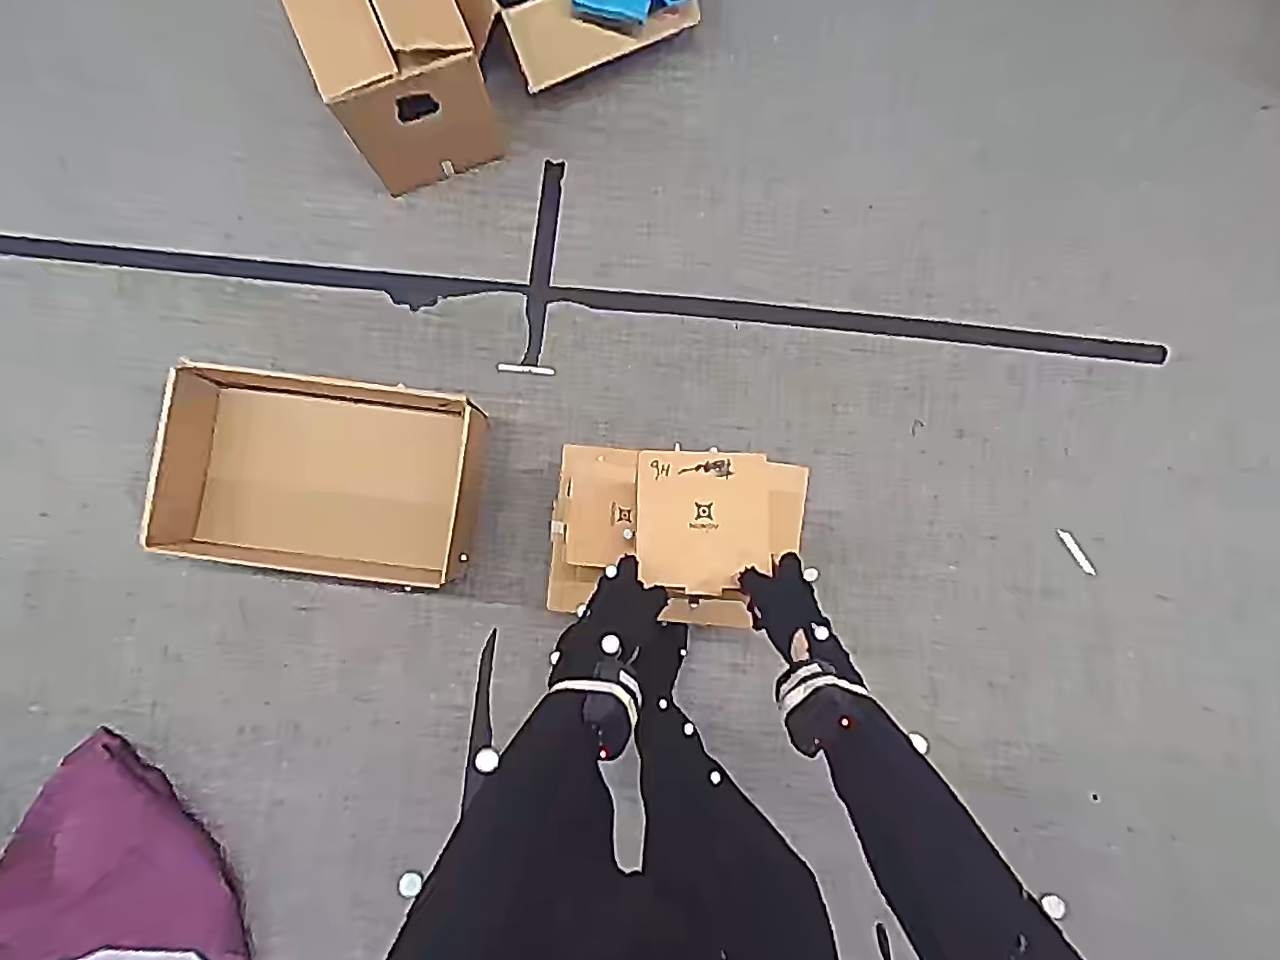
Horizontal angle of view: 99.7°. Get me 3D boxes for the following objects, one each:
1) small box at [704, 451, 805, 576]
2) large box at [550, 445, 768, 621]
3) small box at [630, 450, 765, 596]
[{"bbox_3d":[0.166,0.059,0.927,0.168,0.176,0.179,10,84,-1],"label":"small box"},{"bbox_3d":[0.030,0.111,1.162,0.408,0.320,0.320,5,86,-3],"label":"large box"},{"bbox_3d":[0.072,0.068,0.746,0.168,0.176,0.179,3,76,-1],"label":"small box"}]
